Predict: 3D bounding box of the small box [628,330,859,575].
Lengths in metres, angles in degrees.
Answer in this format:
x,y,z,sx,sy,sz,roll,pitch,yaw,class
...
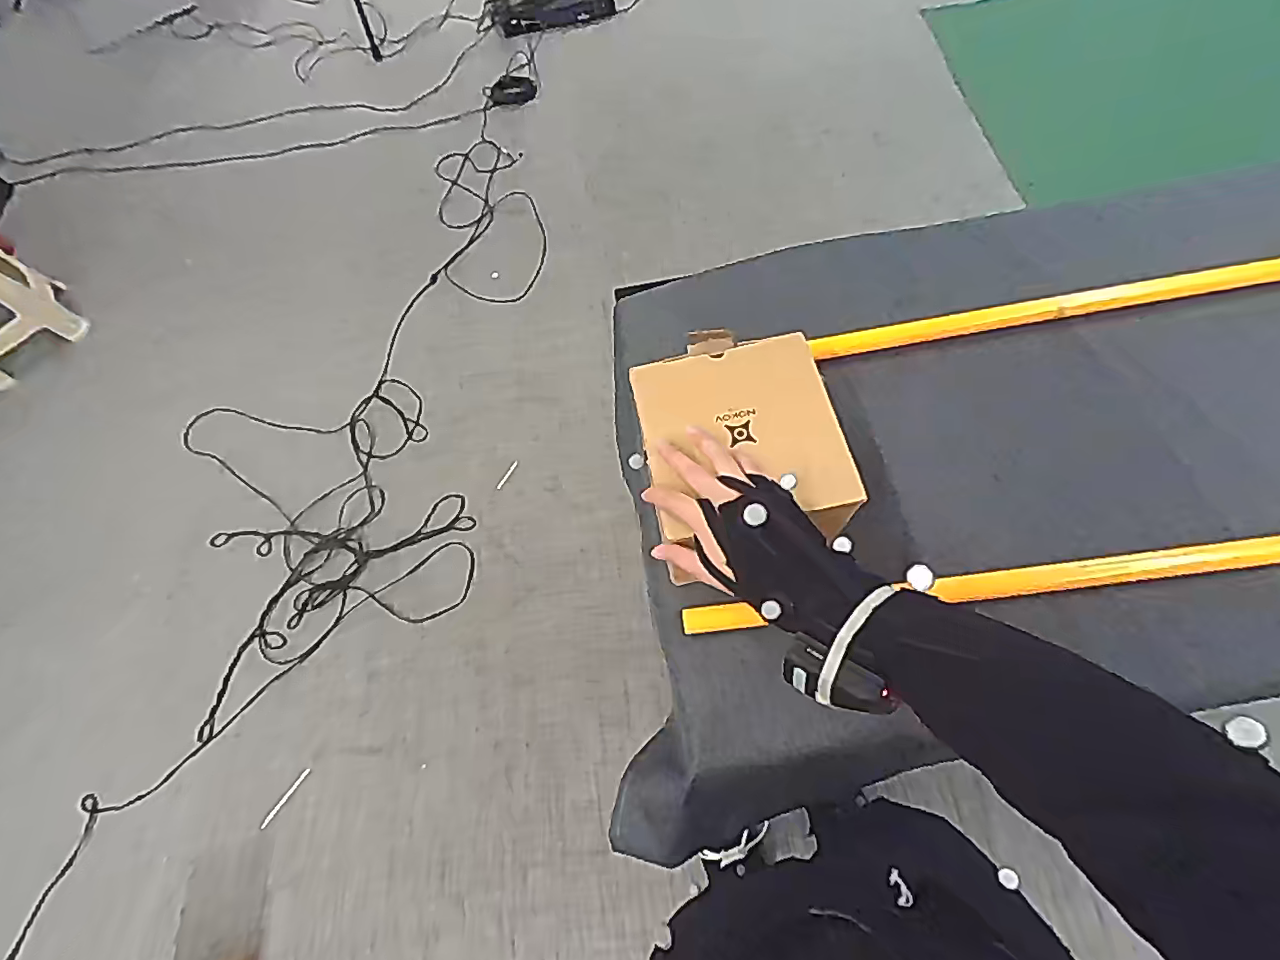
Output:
x,y,z,sx,sy,sz,roll,pitch,yaw,class
0.092,-0.013,0.539,0.168,0.176,0.179,-12,65,1,small box
